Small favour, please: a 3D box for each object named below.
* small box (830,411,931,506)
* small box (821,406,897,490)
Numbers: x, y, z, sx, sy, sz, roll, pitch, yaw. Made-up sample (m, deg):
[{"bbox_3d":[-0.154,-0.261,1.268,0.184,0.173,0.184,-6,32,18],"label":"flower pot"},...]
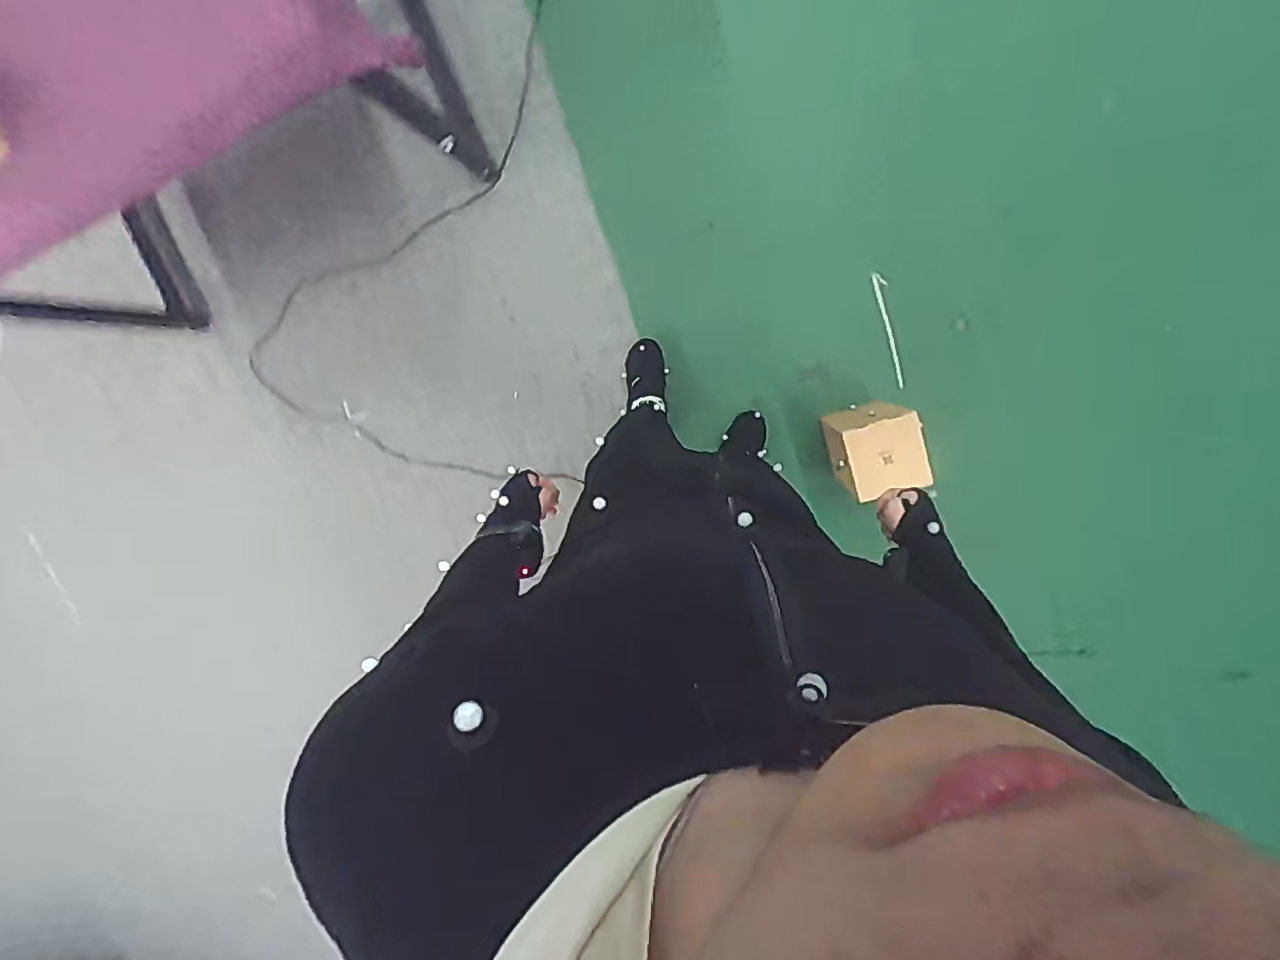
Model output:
[{"bbox_3d":[0.570,-0.056,1.298,0.168,0.176,0.179,-16,98,13],"label":"small box"},{"bbox_3d":[0.599,-0.090,1.454,0.168,0.176,0.179,-15,99,12],"label":"small box"}]
